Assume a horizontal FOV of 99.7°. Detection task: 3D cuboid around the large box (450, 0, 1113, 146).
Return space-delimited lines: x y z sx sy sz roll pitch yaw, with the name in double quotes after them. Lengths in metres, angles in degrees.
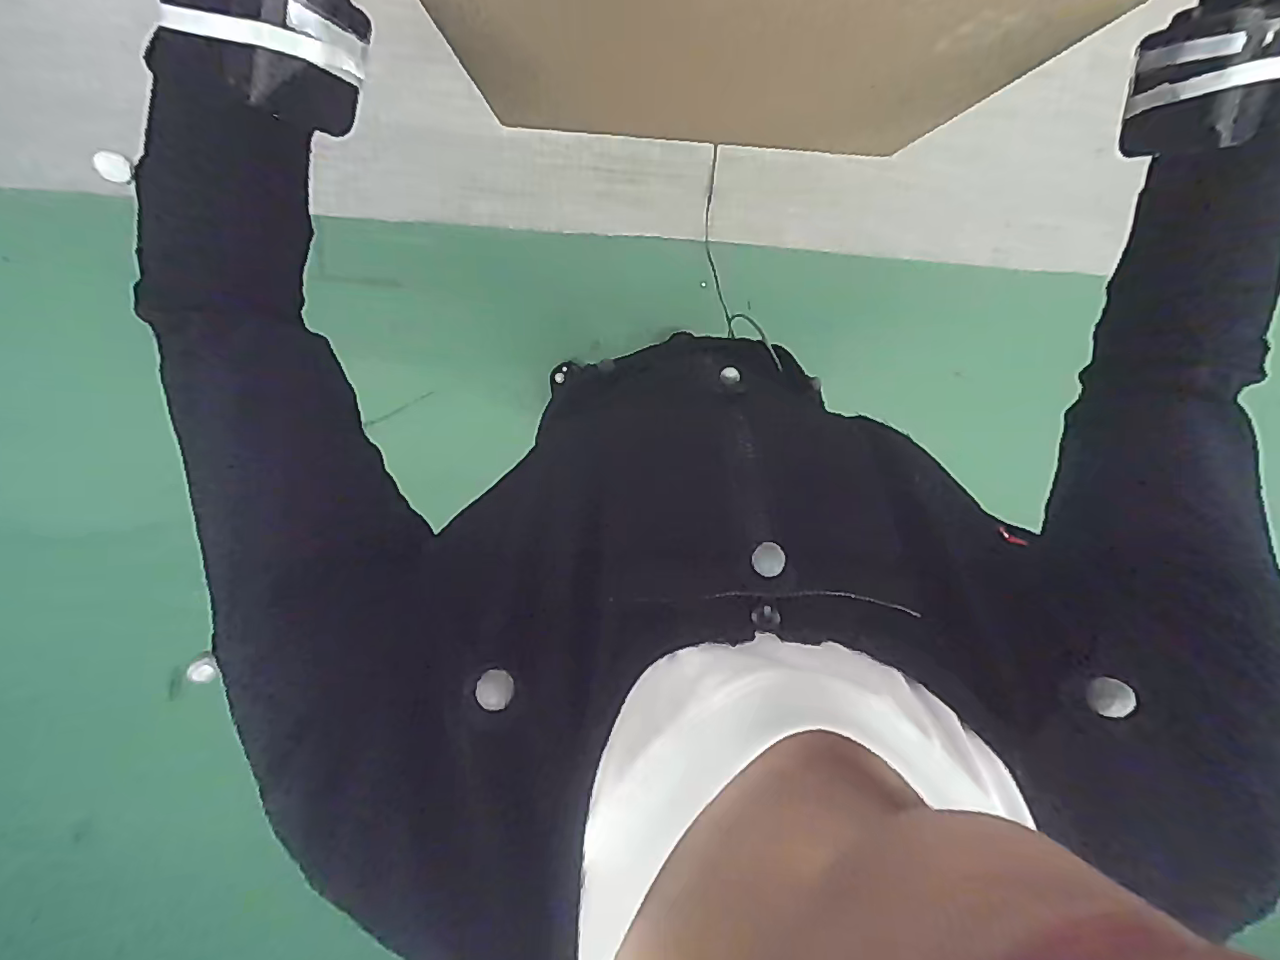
0.078 -0.453 0.368 0.408 0.320 0.320 2 107 -3 "large box"
